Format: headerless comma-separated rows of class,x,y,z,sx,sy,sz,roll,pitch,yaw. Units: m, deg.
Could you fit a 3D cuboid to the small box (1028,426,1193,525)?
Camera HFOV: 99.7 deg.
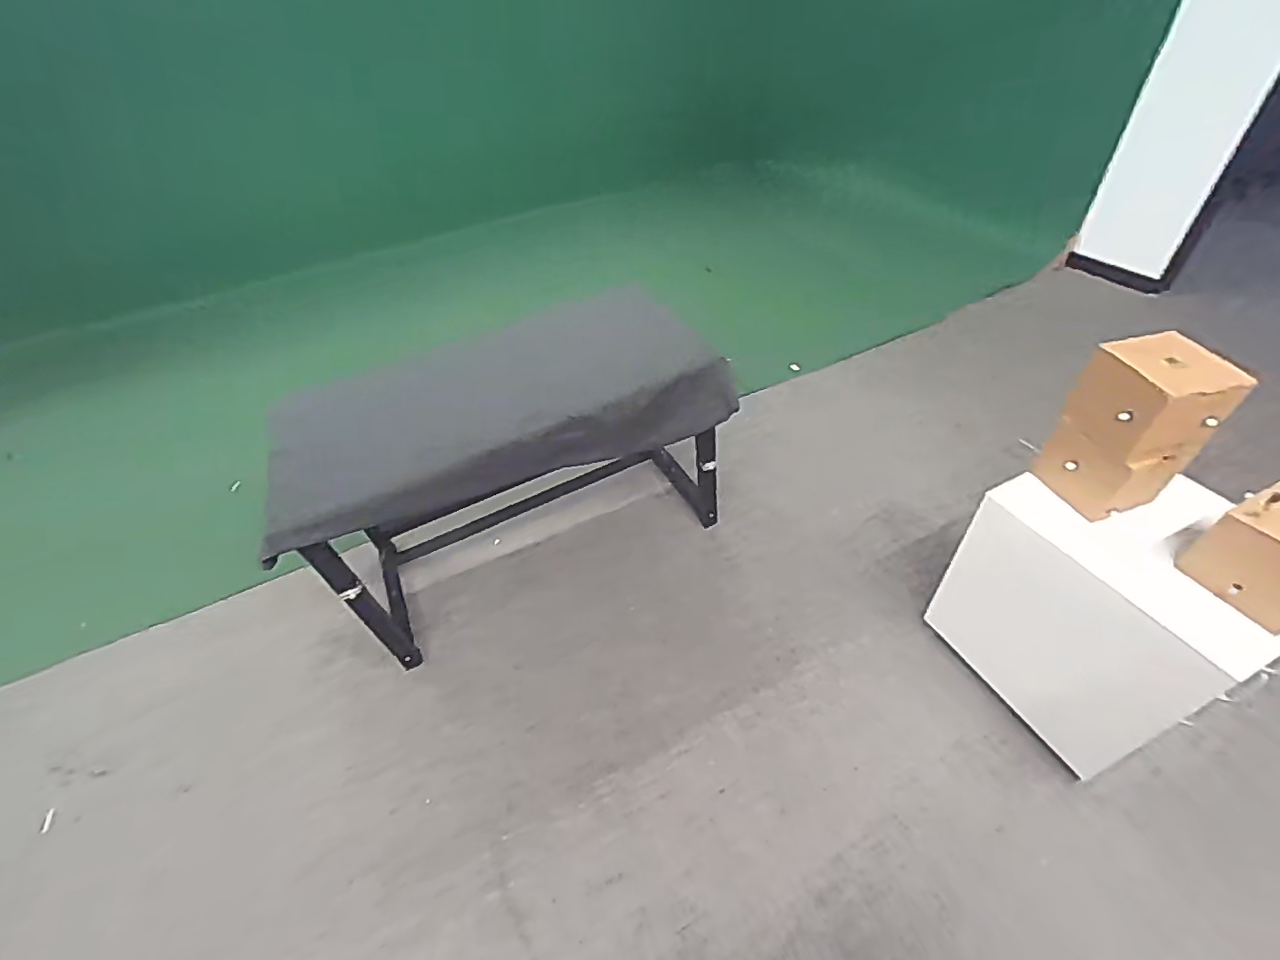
small box,1.003,-0.021,1.172,0.168,0.176,0.179,-15,45,-9

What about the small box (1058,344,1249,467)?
small box,0.989,-0.140,1.063,0.168,0.176,0.179,-10,44,-5

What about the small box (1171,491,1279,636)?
small box,1.144,0.156,0.973,0.168,0.176,0.179,-20,46,-13
